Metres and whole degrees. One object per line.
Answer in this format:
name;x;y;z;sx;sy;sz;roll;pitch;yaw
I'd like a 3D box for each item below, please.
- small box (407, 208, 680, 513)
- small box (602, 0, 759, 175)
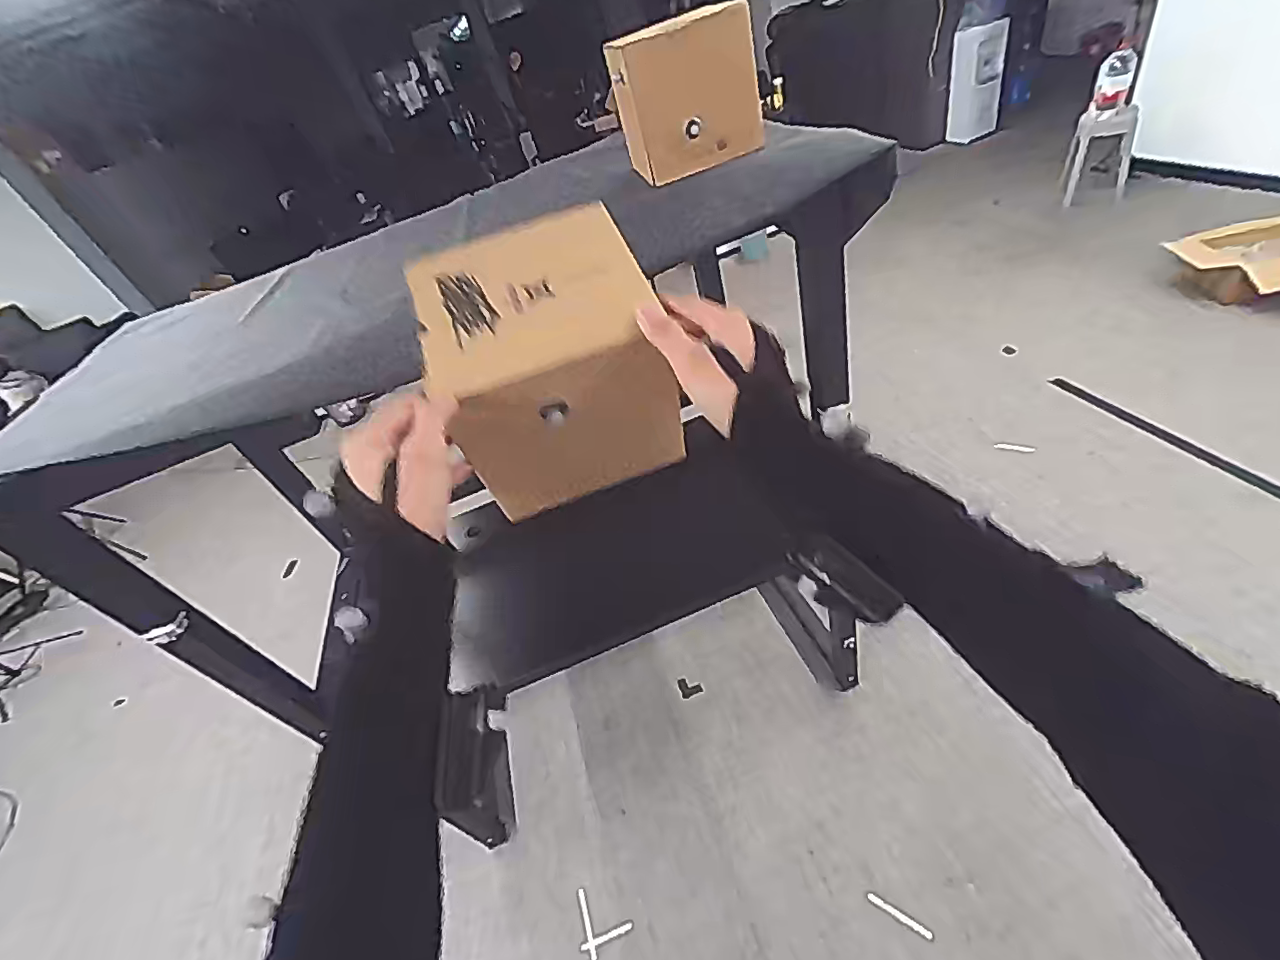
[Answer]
small box;-0.075;-0.095;0.472;0.179;0.176;0.168;-20;58;-5
small box;0.056;-0.557;0.769;0.168;0.176;0.179;-20;40;2
